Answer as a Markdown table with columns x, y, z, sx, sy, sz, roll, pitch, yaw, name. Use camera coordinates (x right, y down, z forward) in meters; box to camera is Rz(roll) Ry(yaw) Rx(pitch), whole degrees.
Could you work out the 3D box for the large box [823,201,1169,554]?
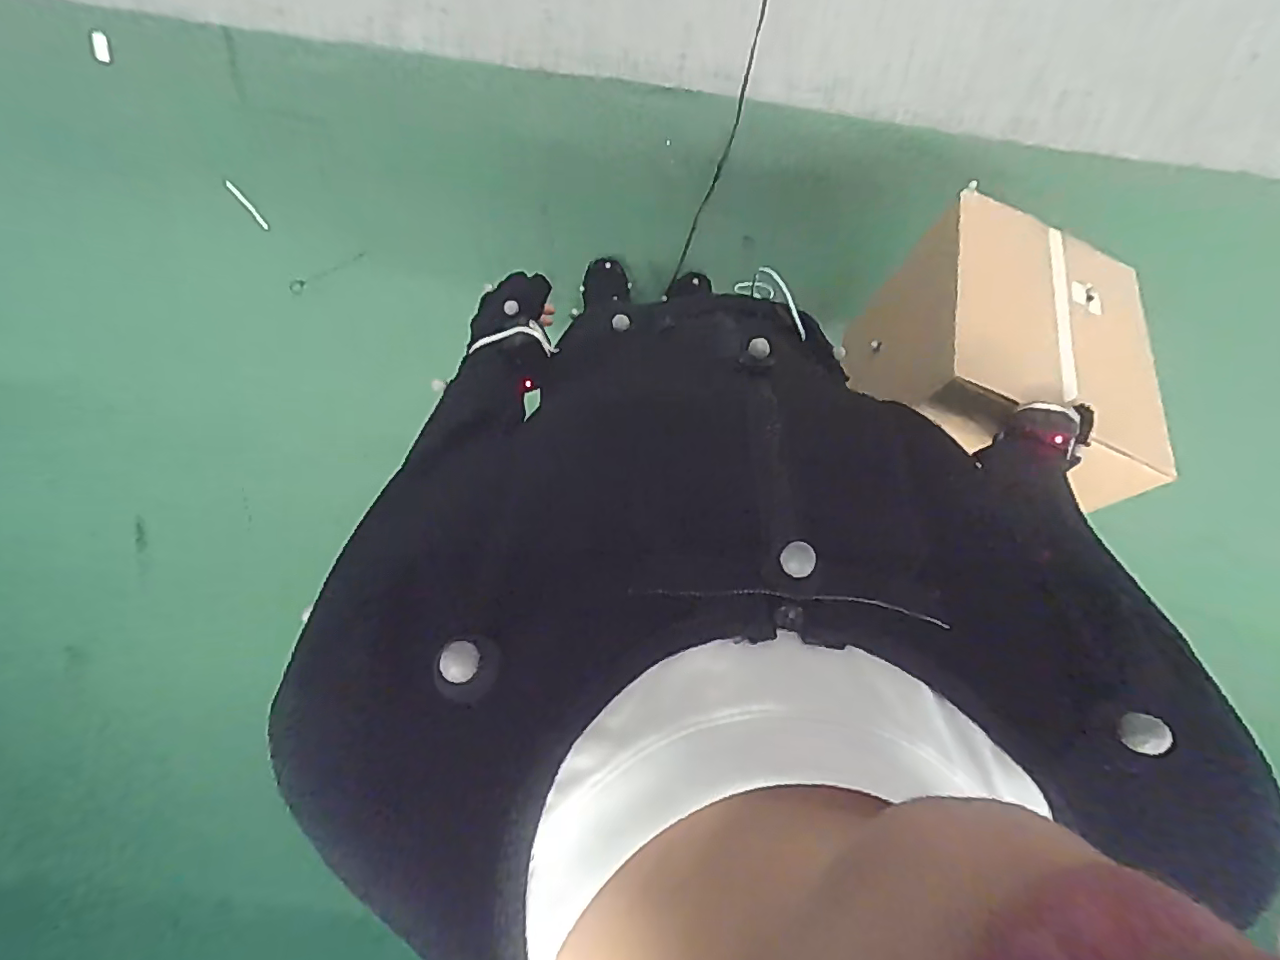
| x | y | z | sx | sy | sz | roll | pitch | yaw | name |
| --- | --- | --- | --- | --- | --- | --- | --- | --- | --- |
| 0.533 | -0.150 | 0.878 | 0.320 | 0.408 | 0.320 | 24 | 150 | -4 | large box |
